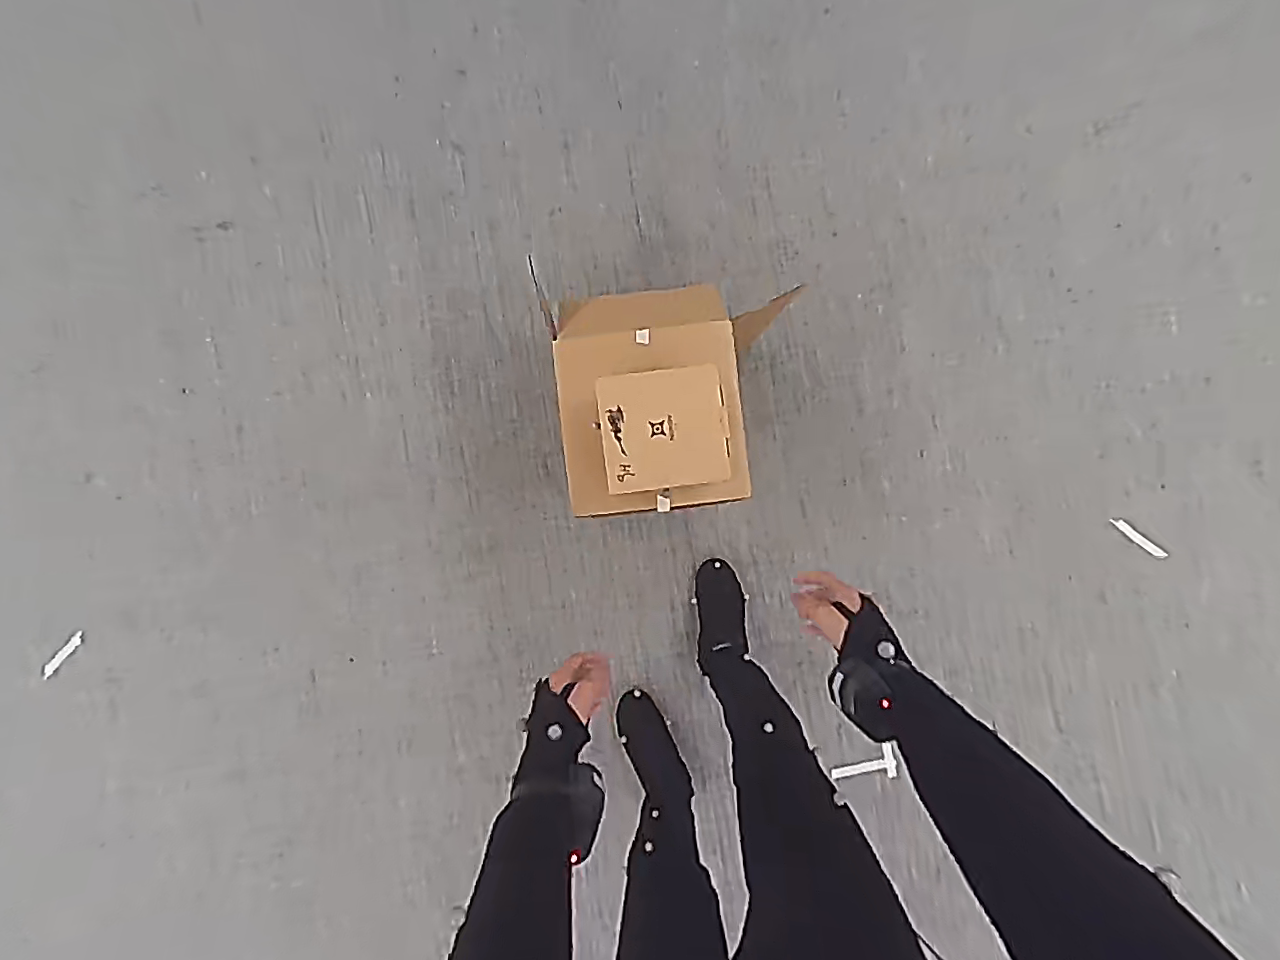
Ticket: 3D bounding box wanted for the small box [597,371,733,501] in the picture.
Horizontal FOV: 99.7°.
[{"bbox_3d":[0.031,-0.062,0.821,0.179,0.176,0.168,-7,90,-1],"label":"small box"}]
